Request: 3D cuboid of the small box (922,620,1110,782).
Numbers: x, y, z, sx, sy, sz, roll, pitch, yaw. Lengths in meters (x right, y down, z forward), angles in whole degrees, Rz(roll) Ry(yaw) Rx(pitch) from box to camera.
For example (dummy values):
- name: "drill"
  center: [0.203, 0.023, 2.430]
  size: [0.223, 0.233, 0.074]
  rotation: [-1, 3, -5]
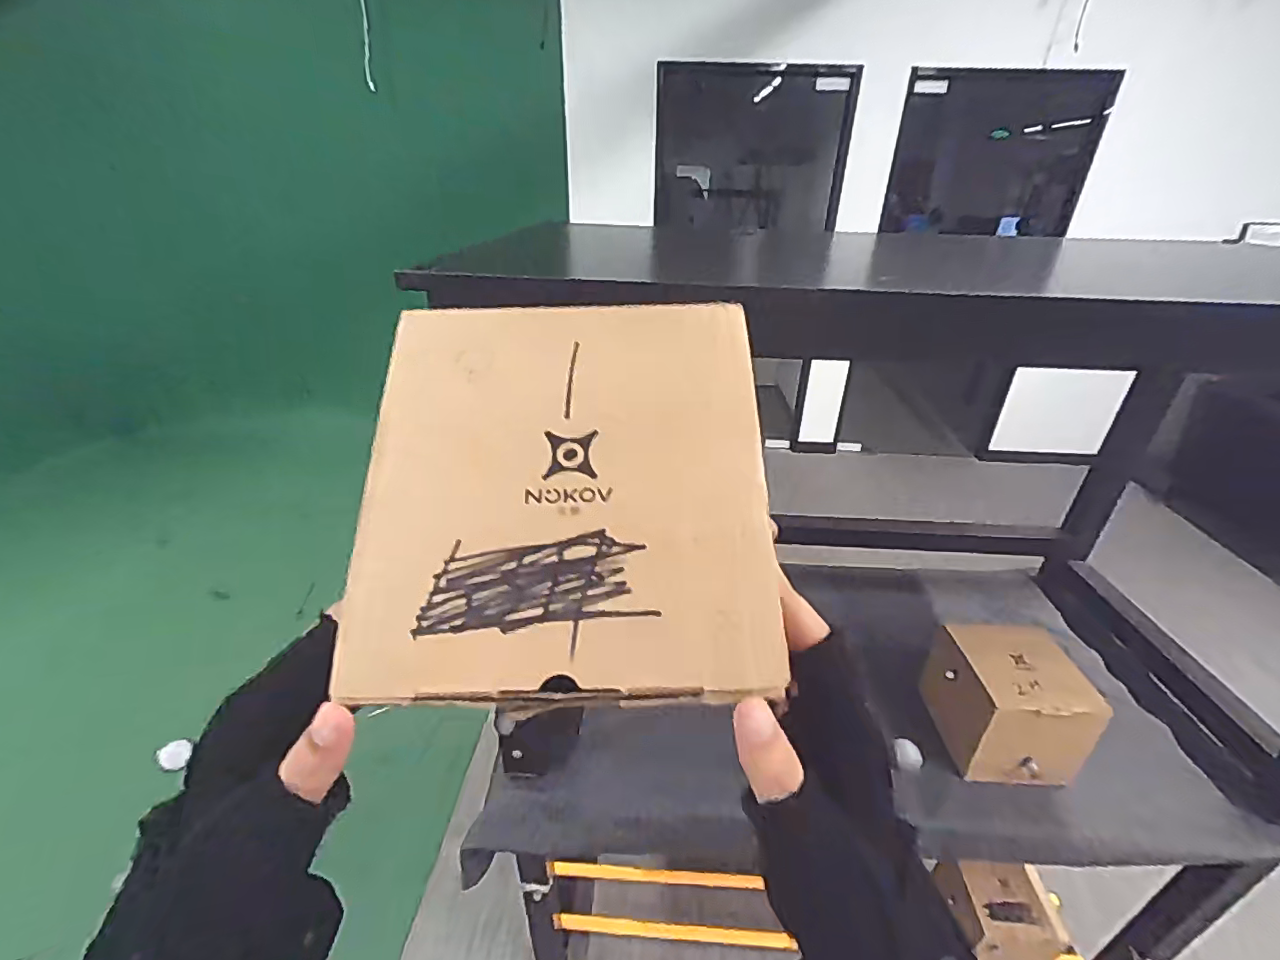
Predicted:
- name: "small box"
  center: [0.588, 0.352, 0.878]
  size: [0.168, 0.176, 0.179]
  rotation: [1, 27, 2]

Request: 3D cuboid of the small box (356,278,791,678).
- name: "small box"
  center: [-0.025, 0.015, 0.304]
  size: [0.168, 0.176, 0.179]
  rotation: [-1, 65, 0]
